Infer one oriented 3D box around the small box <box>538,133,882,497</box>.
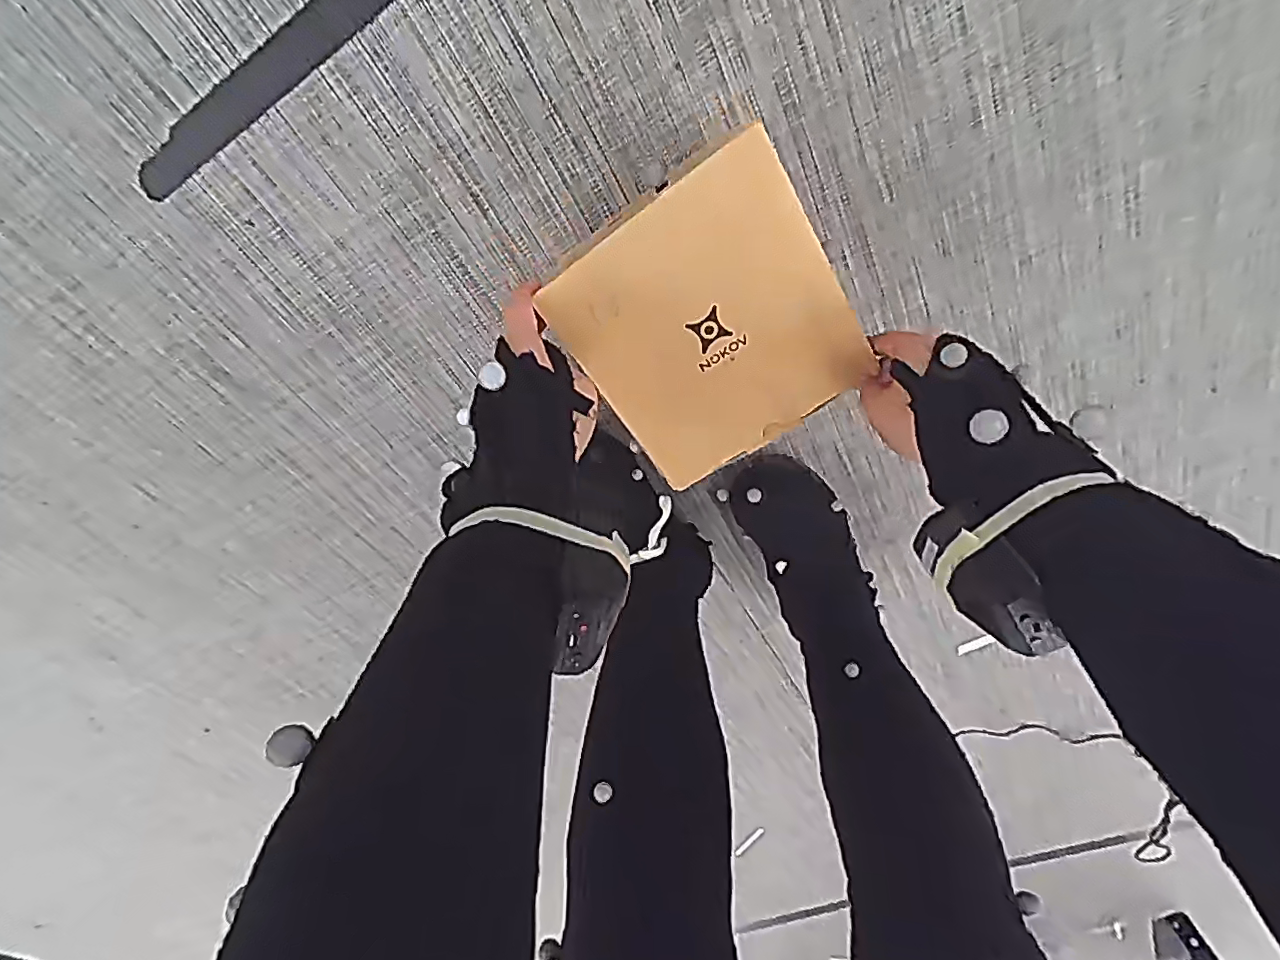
[{"bbox_3d":[0.046,-0.126,0.417,0.168,0.176,0.179,-32,117,16],"label":"small box"}]
